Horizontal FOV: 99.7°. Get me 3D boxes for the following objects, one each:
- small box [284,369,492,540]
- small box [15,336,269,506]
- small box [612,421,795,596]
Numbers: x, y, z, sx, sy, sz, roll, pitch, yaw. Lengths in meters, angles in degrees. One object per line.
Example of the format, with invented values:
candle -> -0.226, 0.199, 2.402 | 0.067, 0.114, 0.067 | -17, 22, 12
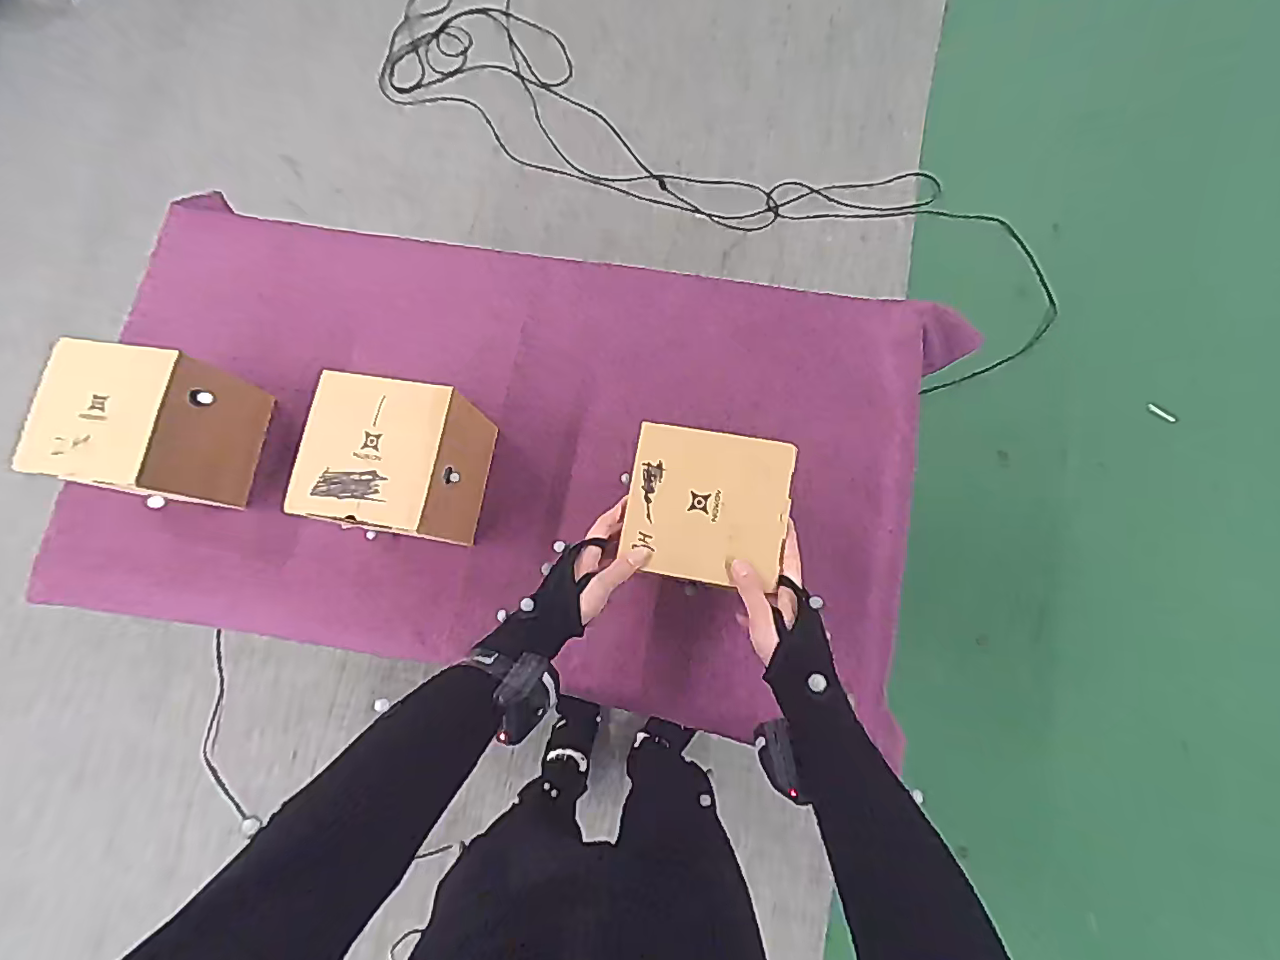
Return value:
small box -> -0.309, -0.022, 0.703 | 0.168, 0.176, 0.179 | 9, 78, 5
small box -> -0.651, -0.071, 0.734 | 0.168, 0.176, 0.179 | 7, 79, 6
small box -> 0.075, 0.042, 0.664 | 0.179, 0.176, 0.168 | 10, 79, 6
